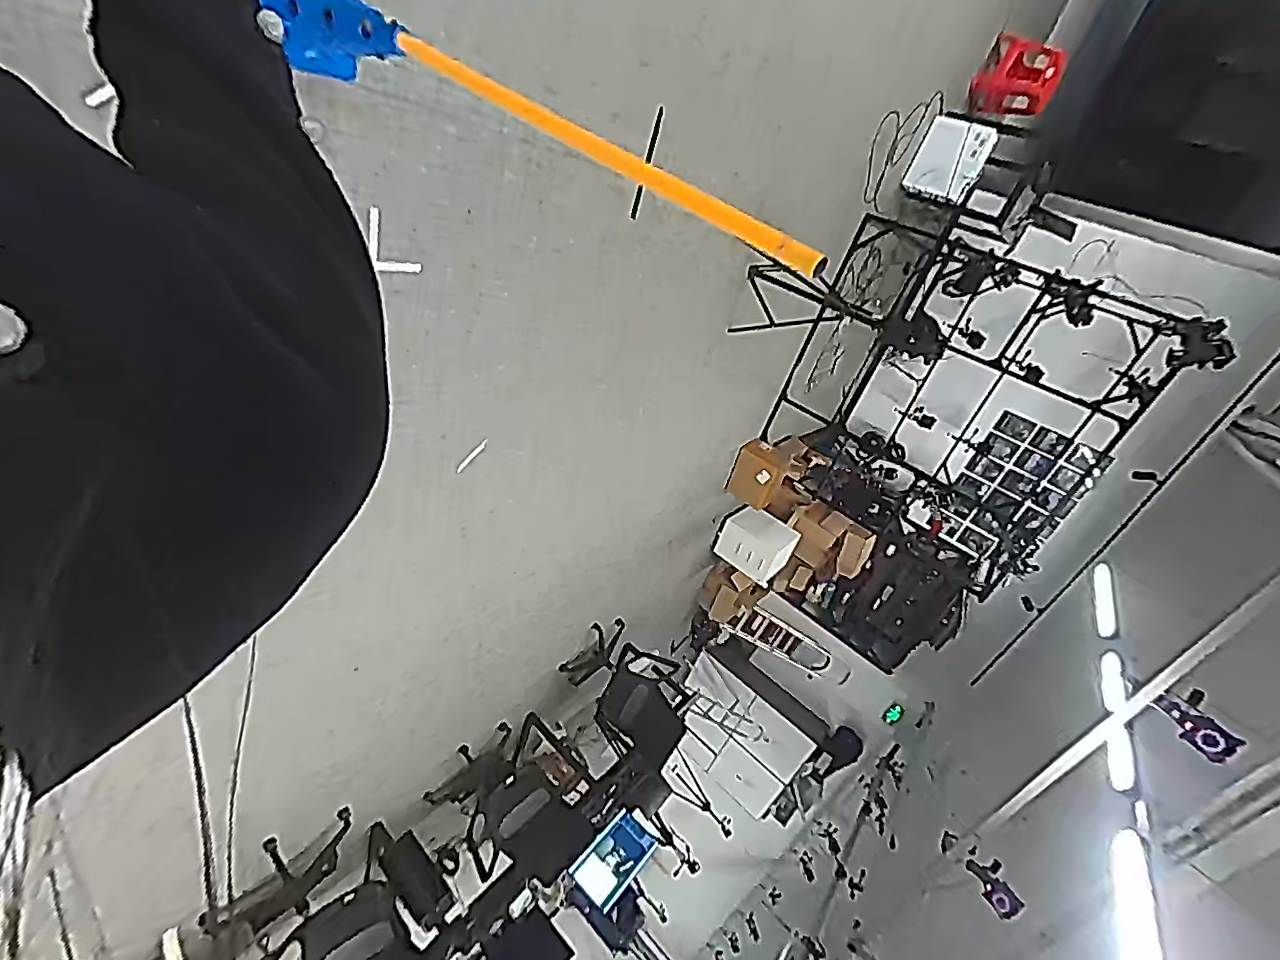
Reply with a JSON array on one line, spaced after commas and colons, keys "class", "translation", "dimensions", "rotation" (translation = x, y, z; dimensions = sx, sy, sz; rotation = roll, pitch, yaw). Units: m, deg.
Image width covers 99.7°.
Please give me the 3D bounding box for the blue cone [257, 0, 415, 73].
[{"class": "blue cone", "translation": [-0.531, -0.845, 0.990], "dimensions": [0.193, 0.380, 0.192], "rotation": [-24, 140, -47]}]
